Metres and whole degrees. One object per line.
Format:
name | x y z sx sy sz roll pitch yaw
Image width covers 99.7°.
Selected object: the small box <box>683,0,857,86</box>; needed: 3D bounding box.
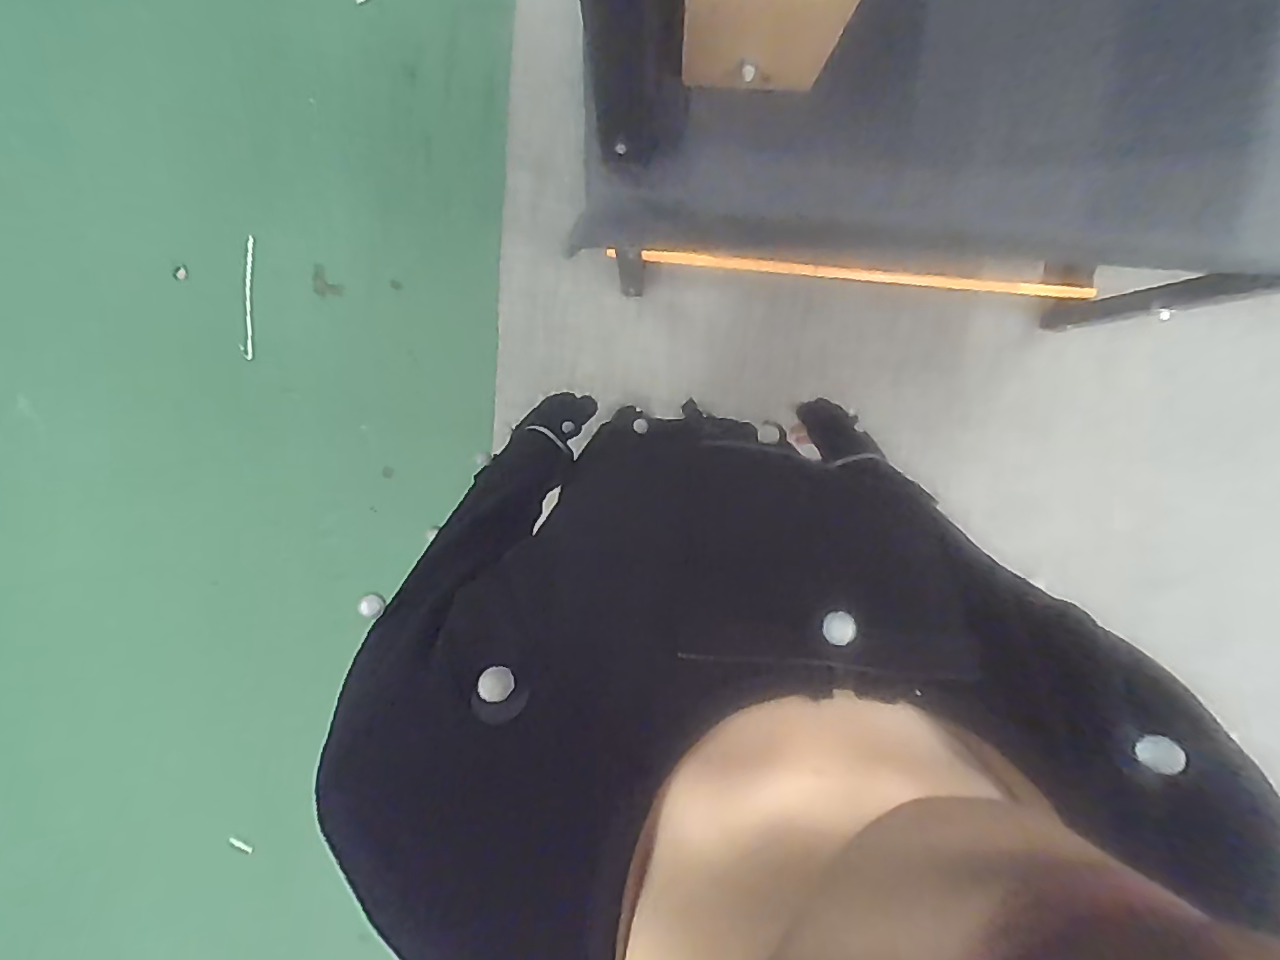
small box | 0.136 -0.569 0.580 0.168 0.176 0.179 2 98 0
